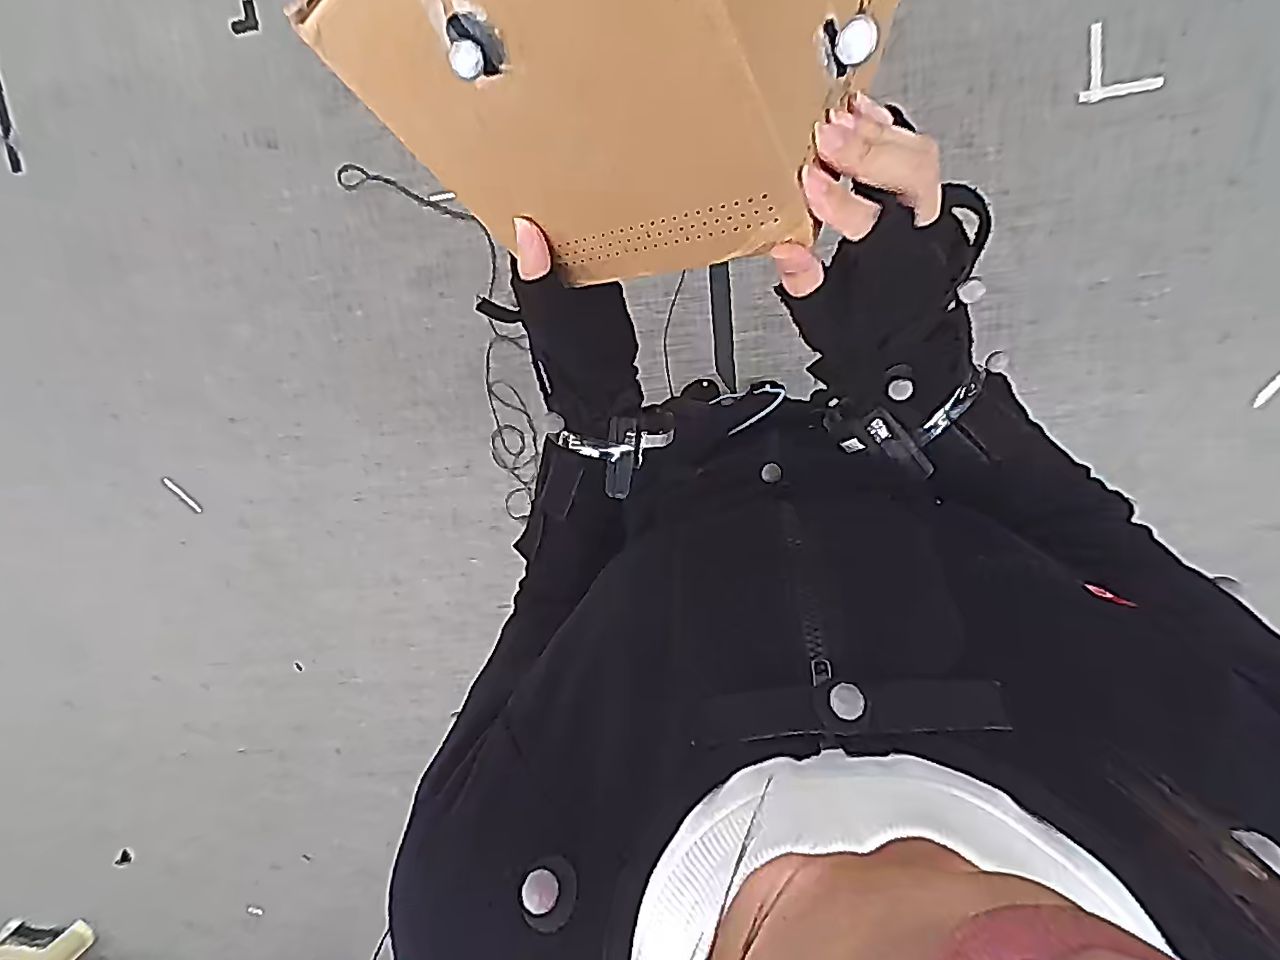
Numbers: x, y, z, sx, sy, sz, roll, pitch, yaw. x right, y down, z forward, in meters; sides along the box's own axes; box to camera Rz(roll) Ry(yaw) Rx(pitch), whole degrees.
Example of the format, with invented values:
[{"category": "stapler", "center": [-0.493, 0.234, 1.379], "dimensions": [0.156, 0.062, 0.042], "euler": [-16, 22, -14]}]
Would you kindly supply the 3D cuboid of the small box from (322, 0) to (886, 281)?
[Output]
[{"category": "small box", "center": [-0.003, -0.220, 0.263], "dimensions": [0.179, 0.176, 0.168], "euler": [8, 70, 39]}]
